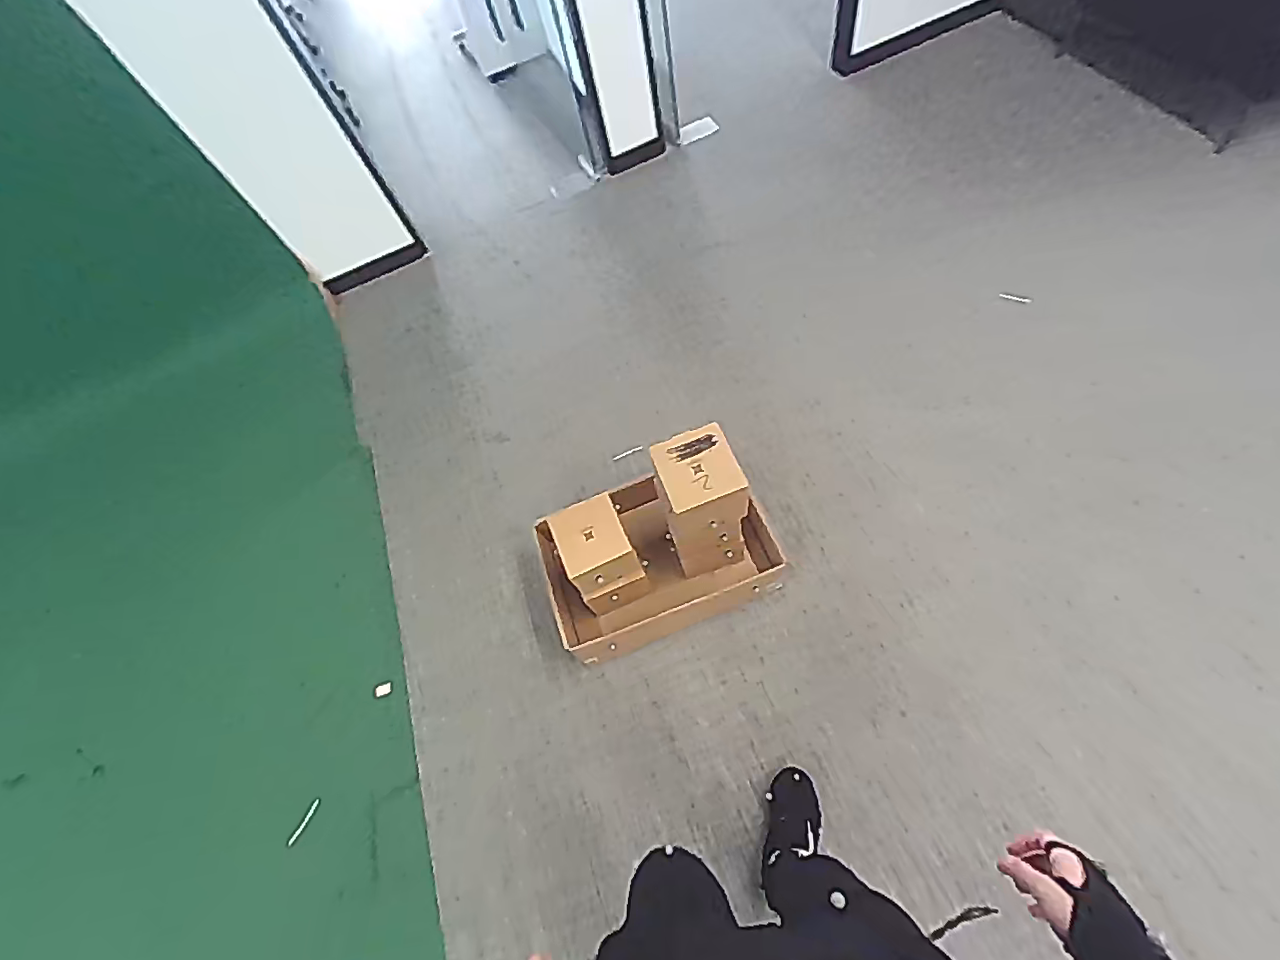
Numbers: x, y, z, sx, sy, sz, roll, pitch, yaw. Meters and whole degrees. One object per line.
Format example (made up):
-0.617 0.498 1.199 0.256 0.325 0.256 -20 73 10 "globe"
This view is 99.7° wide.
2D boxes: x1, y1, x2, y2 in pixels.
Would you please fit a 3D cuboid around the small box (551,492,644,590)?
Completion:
-0.102 0.166 1.380 0.168 0.176 0.179 -25 61 -2 "small box"

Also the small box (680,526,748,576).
0.192 0.151 1.511 0.179 0.176 0.168 -20 61 3 "small box"

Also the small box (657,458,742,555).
0.156 0.077 1.370 0.168 0.176 0.179 -19 61 1 "small box"
